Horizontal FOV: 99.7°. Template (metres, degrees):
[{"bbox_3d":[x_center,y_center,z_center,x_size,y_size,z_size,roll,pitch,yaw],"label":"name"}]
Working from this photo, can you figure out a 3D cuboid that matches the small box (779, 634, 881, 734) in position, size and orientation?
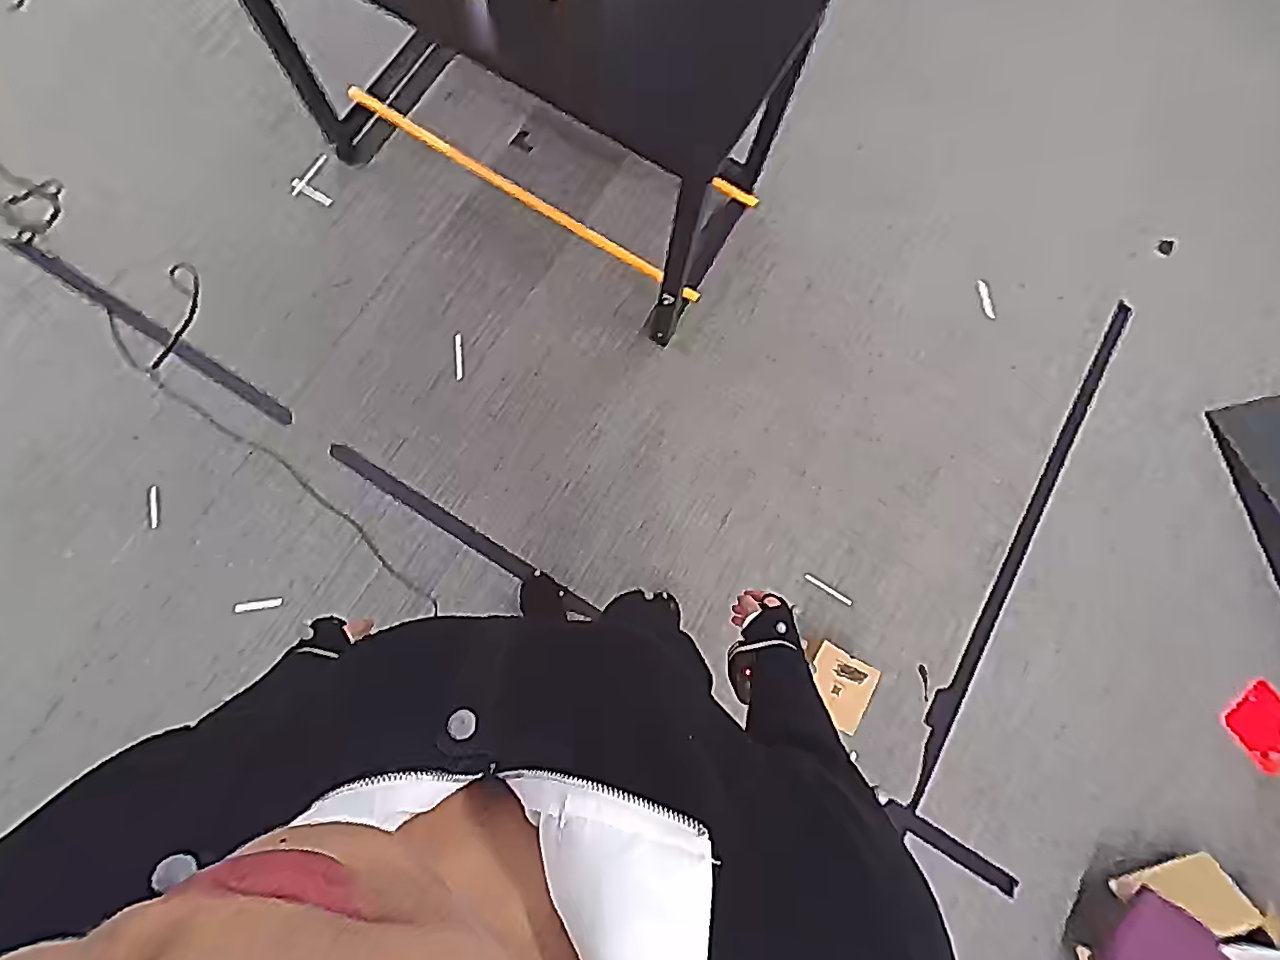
[{"bbox_3d":[0.488,0.522,1.415,0.168,0.176,0.179,30,80,2],"label":"small box"}]
